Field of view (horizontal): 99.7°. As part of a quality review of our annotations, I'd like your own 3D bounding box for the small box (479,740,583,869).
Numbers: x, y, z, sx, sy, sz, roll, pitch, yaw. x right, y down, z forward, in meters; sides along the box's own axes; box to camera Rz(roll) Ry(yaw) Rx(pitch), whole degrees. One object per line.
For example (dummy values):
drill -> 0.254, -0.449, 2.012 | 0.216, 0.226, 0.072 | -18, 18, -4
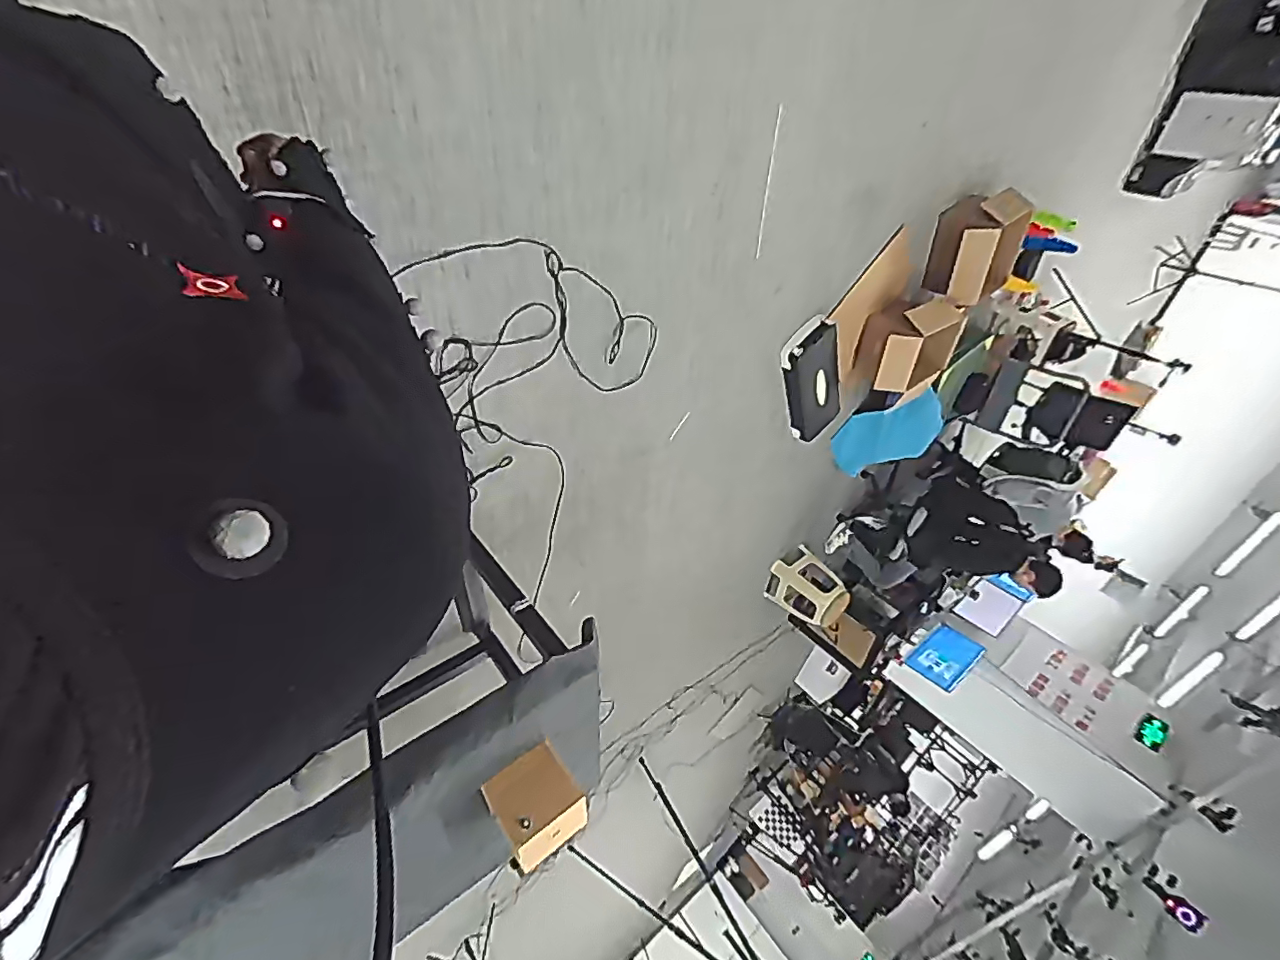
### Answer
small box -> -0.254, 0.757, 1.276 | 0.179, 0.176, 0.168 | -26, 137, -30
